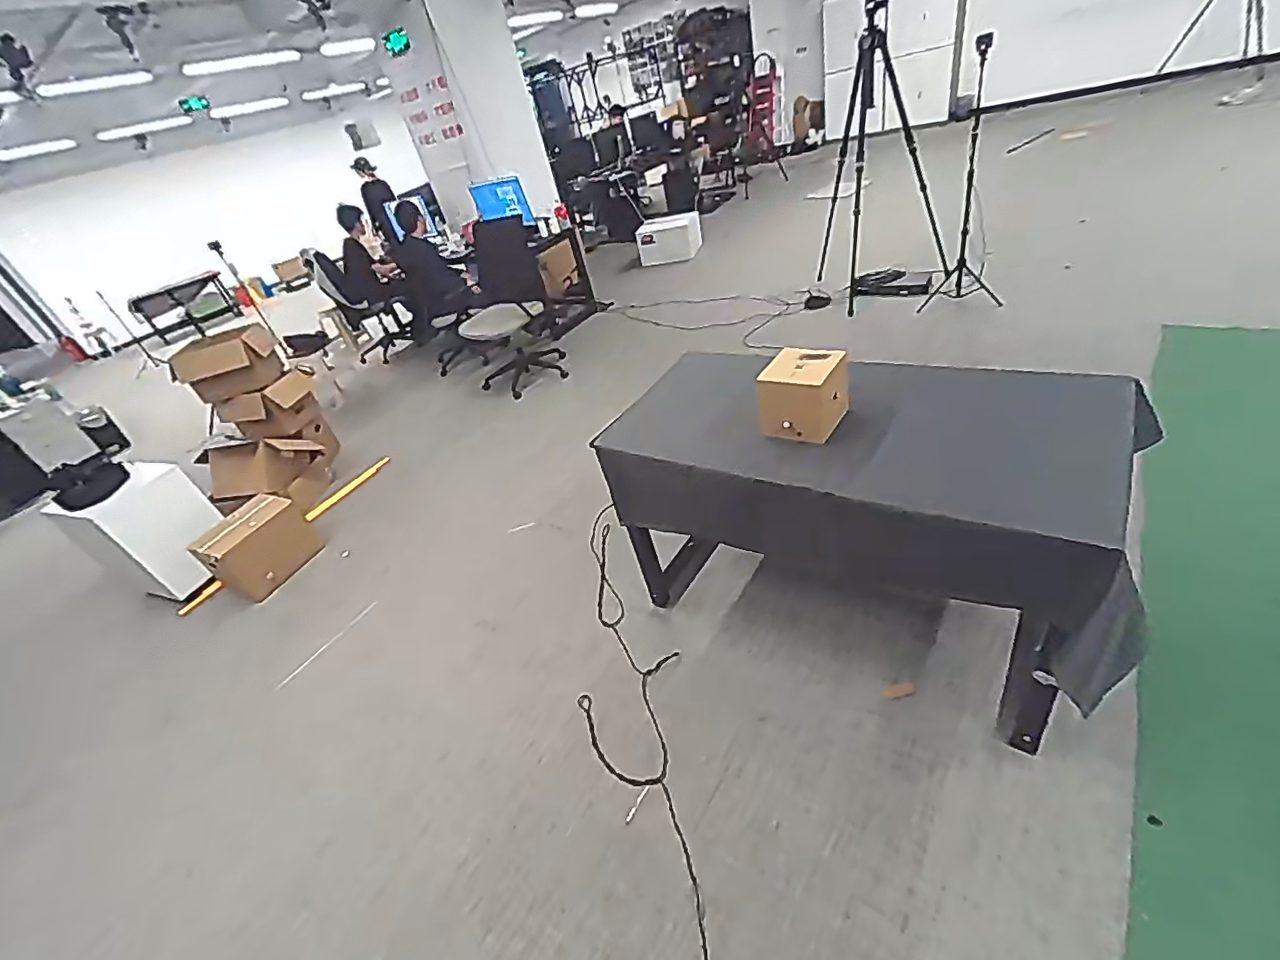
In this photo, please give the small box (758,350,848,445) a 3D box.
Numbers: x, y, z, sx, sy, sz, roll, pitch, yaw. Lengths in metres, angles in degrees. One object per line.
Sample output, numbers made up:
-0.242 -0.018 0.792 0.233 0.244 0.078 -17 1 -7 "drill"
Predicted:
0.418 -0.212 1.375 0.168 0.176 0.179 14 45 37 "small box"
